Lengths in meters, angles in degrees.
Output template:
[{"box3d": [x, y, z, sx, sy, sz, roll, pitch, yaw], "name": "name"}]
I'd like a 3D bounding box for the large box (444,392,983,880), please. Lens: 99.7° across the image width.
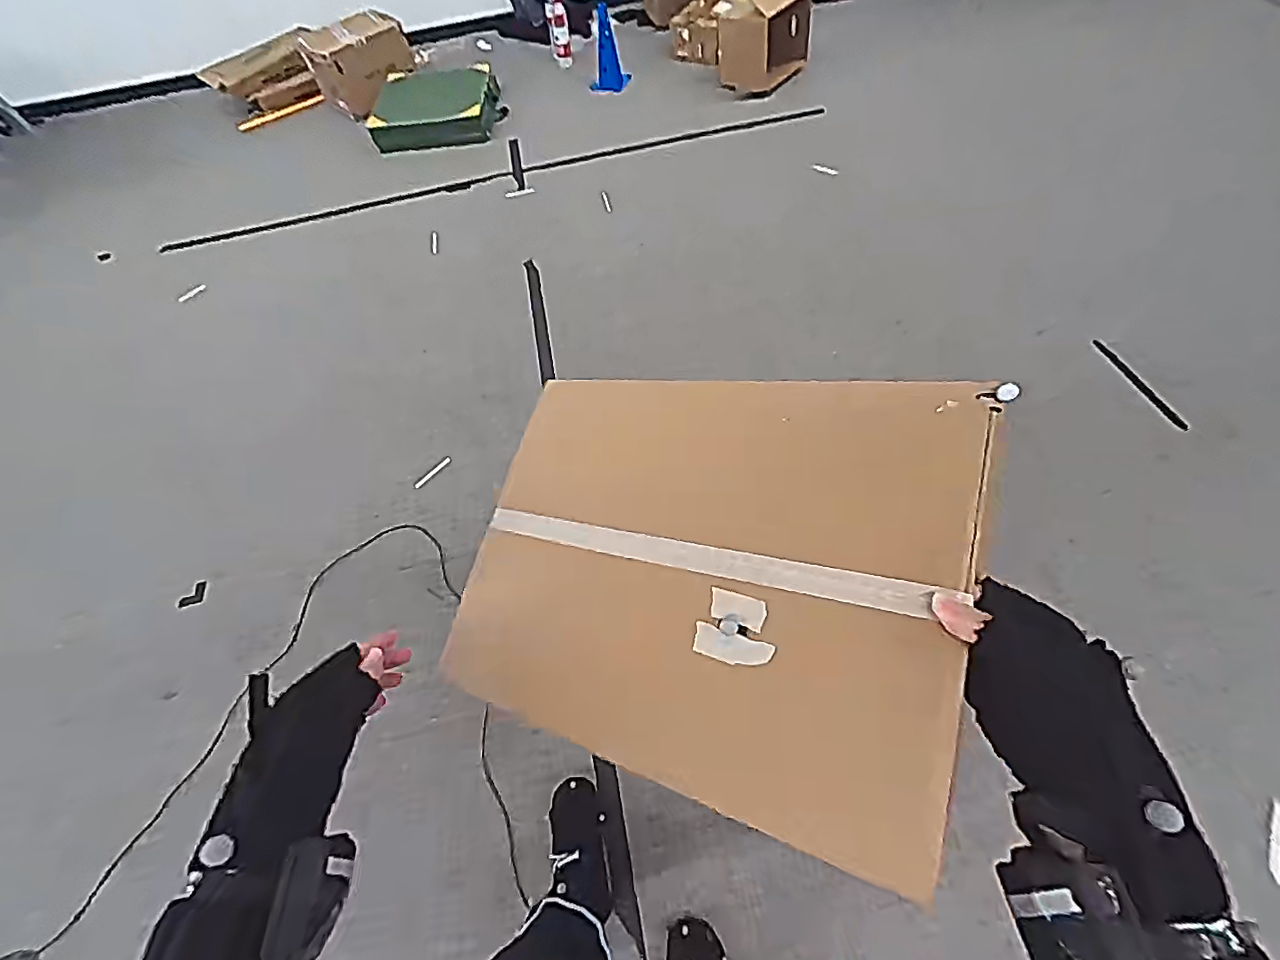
[{"box3d": [0.094, 0.120, 0.555, 0.408, 0.320, 0.320, 6, 72, 31], "name": "large box"}]
